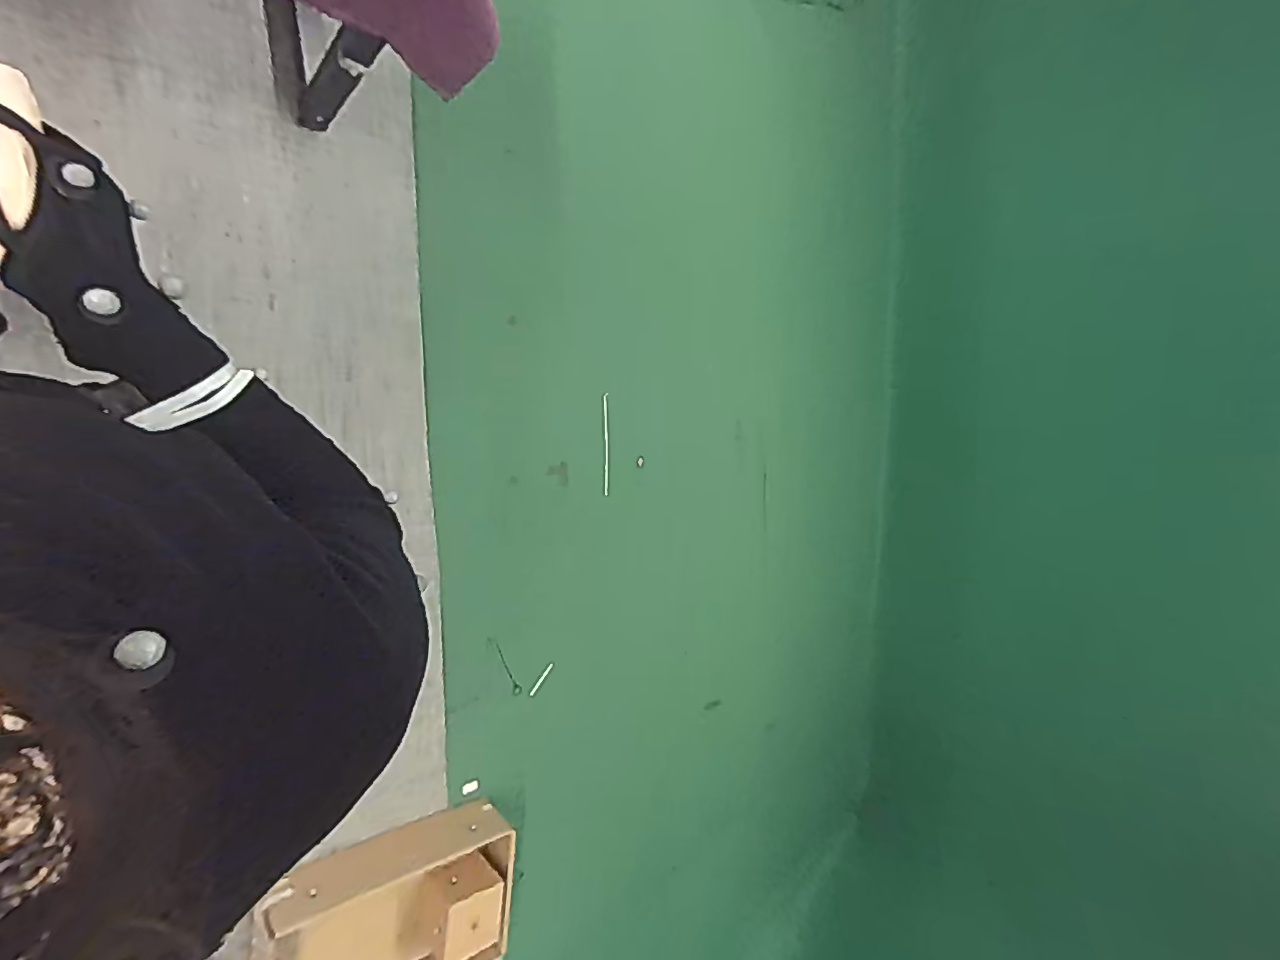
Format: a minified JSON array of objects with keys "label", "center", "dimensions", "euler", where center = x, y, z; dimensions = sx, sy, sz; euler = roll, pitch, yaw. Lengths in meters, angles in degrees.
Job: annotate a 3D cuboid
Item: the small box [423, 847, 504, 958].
[{"label":"small box","center":[-0.516,1.210,1.572],"dimensions":[0.168,0.176,0.179],"euler":[6,90,-43]}]
